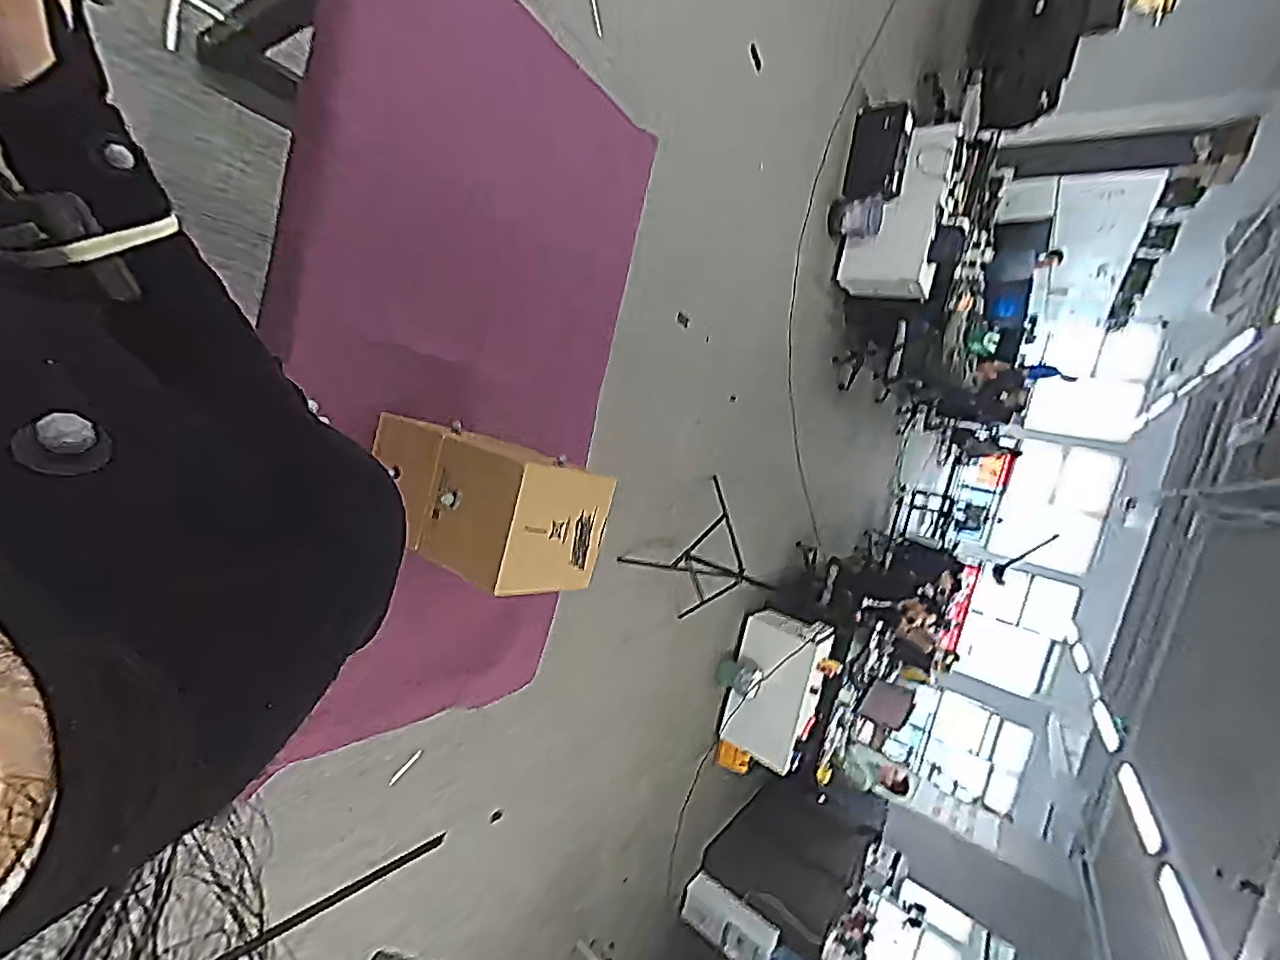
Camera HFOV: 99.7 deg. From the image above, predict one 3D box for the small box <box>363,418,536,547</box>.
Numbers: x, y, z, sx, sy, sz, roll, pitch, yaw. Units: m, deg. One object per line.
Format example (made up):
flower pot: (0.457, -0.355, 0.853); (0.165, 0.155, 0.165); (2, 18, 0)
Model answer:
small box: (-0.298, 0.006, 0.845); (0.179, 0.176, 0.168); (12, 95, -56)

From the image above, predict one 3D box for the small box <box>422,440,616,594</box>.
small box: (-0.167, 0.048, 0.755); (0.179, 0.176, 0.168); (11, 94, -55)
